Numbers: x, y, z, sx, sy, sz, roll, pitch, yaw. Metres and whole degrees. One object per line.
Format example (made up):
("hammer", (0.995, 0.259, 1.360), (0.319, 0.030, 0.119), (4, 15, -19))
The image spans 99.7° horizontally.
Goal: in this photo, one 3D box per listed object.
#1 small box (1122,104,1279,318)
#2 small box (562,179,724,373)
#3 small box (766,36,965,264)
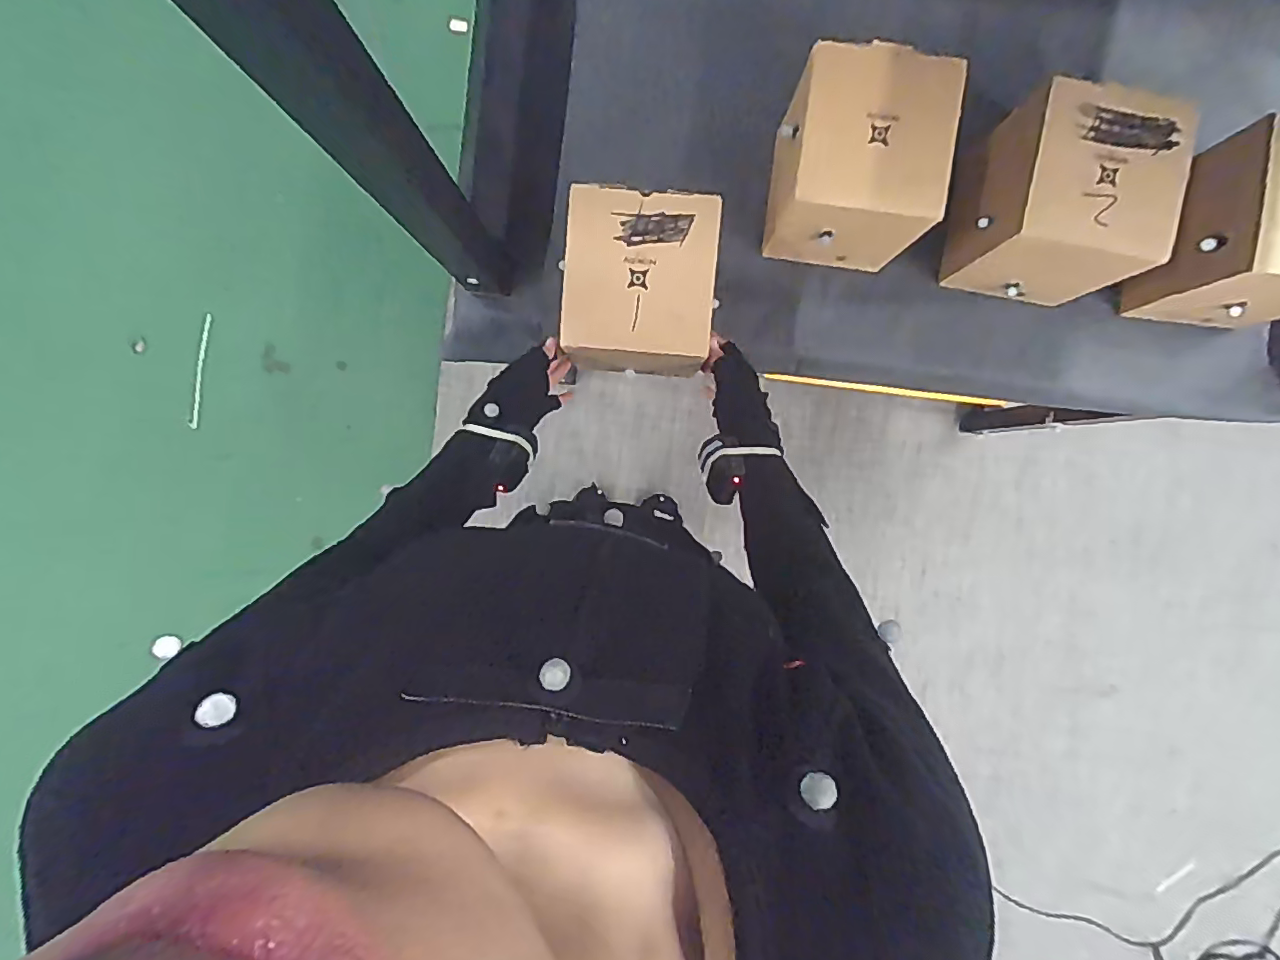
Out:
("small box", (0.746, -0.310, 0.661), (0.168, 0.176, 0.179), (7, 91, 0))
("small box", (0.002, -0.237, 0.668), (0.168, 0.176, 0.179), (5, 94, 0))
("small box", (0.259, -0.387, 0.665), (0.168, 0.176, 0.179), (7, 91, 0))
